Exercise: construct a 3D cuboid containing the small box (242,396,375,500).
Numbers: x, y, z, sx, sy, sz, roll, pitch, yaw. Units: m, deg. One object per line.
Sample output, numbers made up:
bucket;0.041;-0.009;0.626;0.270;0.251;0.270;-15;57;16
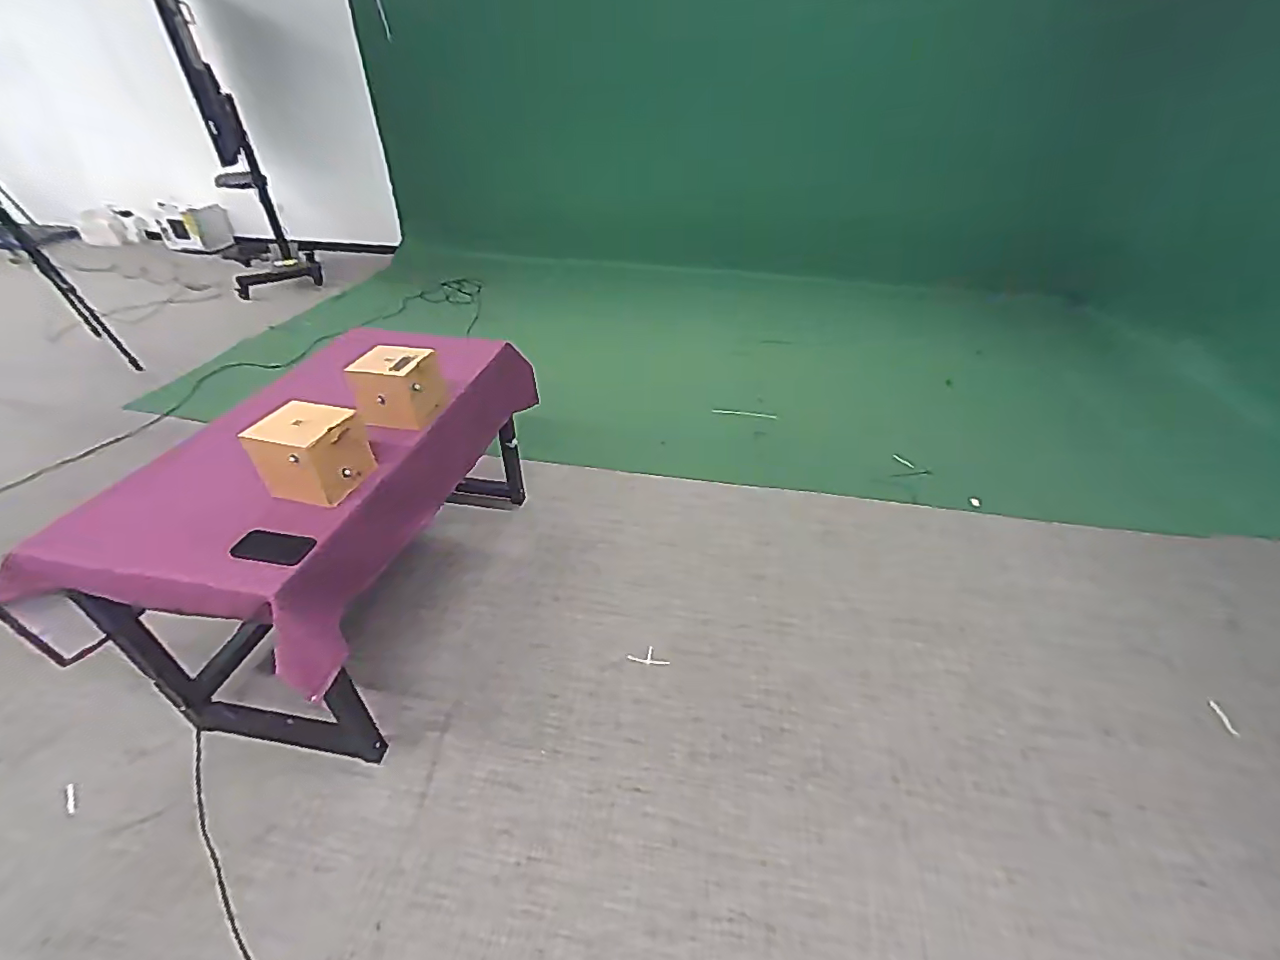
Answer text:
small box;-0.752;-0.072;1.247;0.179;0.176;0.168;10;38;10
